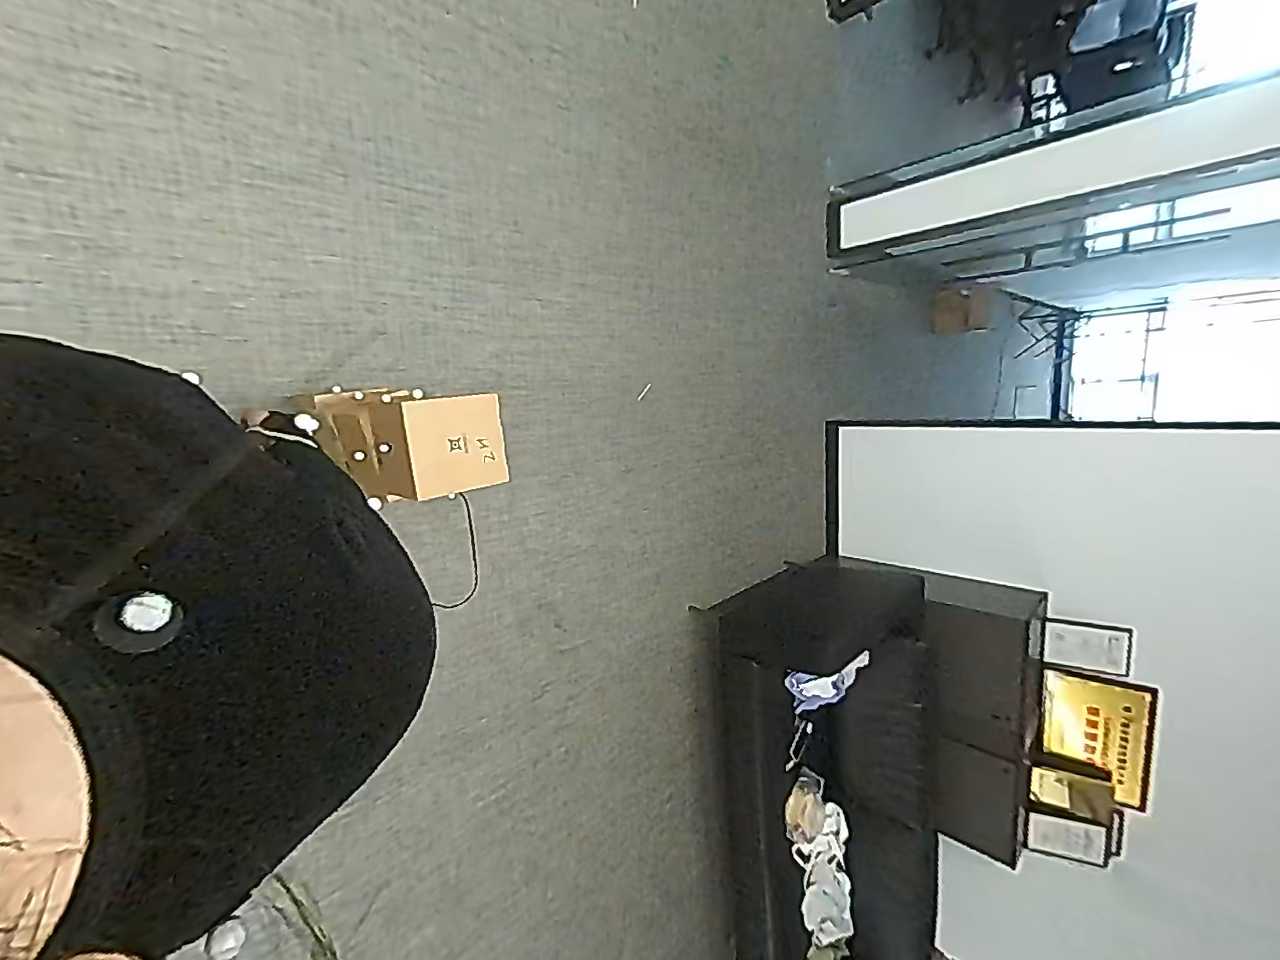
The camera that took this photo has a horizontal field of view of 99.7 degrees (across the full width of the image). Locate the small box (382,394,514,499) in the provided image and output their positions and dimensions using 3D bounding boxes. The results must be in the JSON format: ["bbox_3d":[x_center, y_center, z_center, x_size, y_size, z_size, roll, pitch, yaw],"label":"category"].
[{"bbox_3d":[-0.358,-0.066,0.994,0.179,0.176,0.168,-14,104,-41],"label":"small box"}]

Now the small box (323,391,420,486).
[{"bbox_3d":[-0.589,-0.097,1.224,0.179,0.176,0.168,-29,114,-38],"label":"small box"}]

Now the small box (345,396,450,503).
[{"bbox_3d":[-0.475,-0.069,1.110,0.168,0.176,0.179,-25,111,-39],"label":"small box"}]
